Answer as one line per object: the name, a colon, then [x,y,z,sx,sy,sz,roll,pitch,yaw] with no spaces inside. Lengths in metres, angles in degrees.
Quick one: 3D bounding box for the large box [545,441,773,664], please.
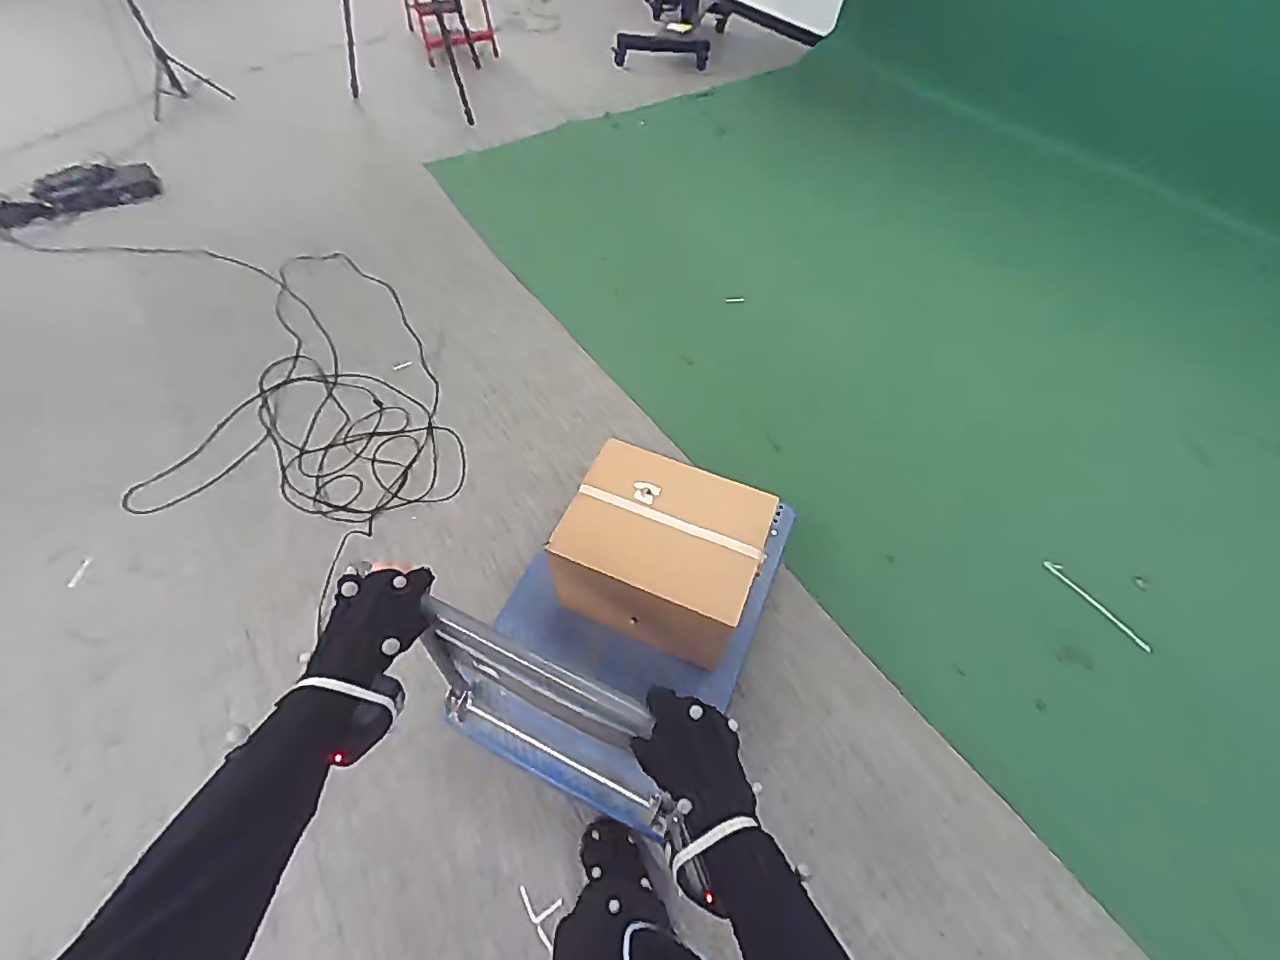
large box: [0.047,0.171,1.243,0.408,0.320,0.320,20,57,12]
